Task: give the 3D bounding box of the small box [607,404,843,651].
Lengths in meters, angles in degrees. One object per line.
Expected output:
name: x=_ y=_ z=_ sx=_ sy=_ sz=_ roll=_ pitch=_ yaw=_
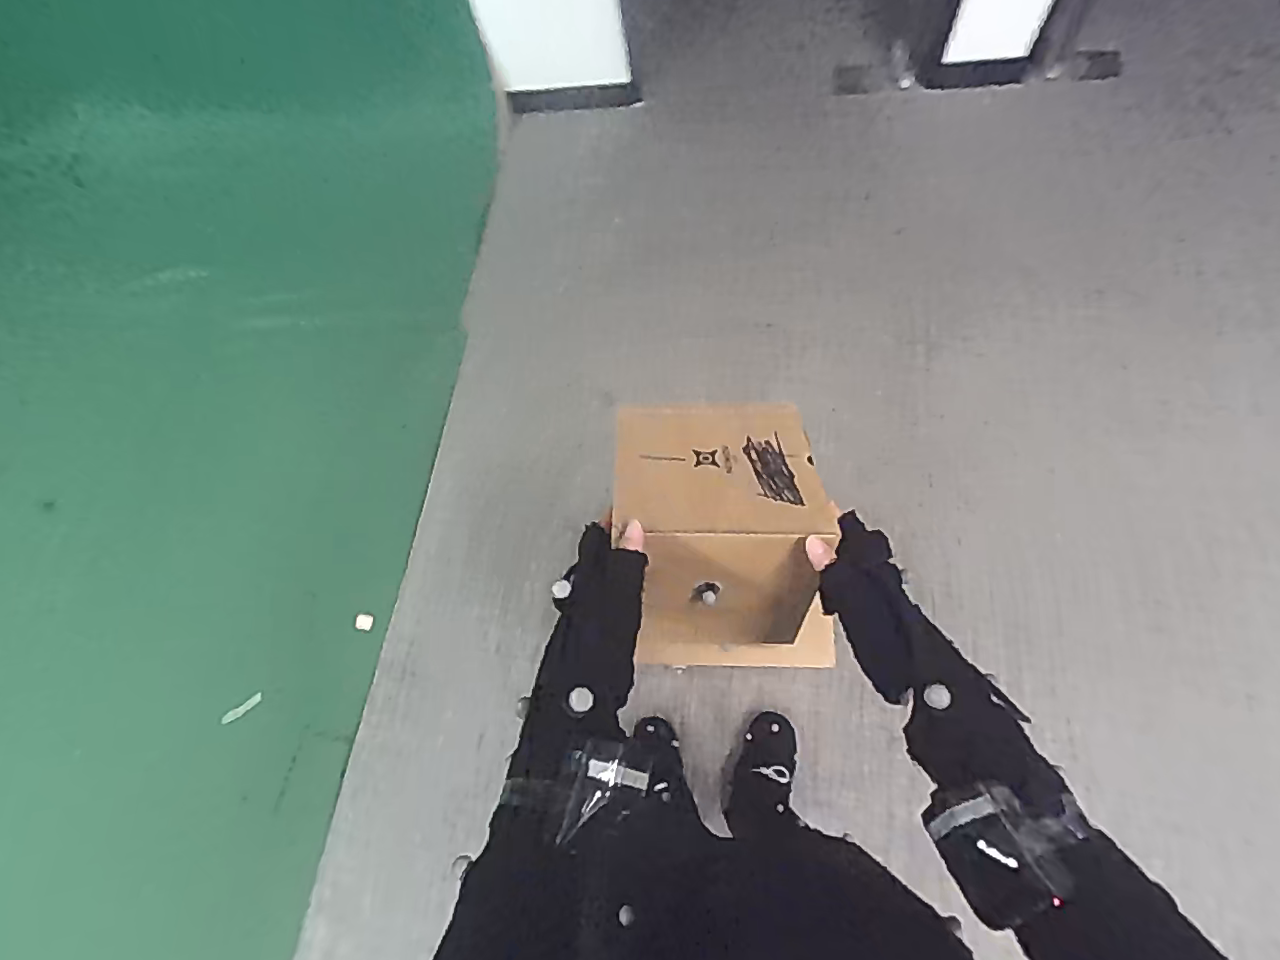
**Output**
small box: x=0.059 y=0.046 z=0.508 sx=0.179 sy=0.176 sz=0.168 roll=-1 pitch=45 yaw=-4
